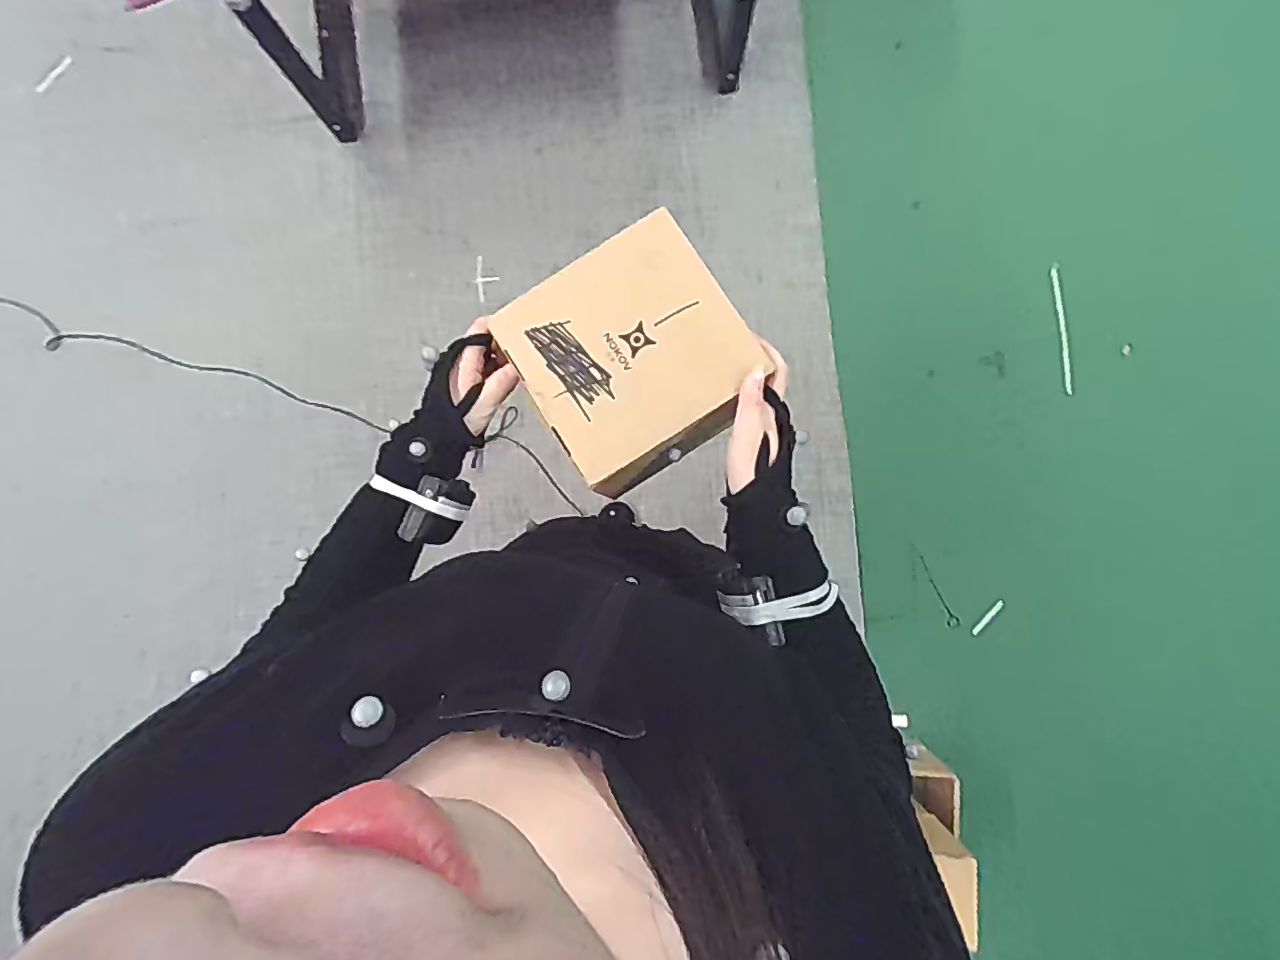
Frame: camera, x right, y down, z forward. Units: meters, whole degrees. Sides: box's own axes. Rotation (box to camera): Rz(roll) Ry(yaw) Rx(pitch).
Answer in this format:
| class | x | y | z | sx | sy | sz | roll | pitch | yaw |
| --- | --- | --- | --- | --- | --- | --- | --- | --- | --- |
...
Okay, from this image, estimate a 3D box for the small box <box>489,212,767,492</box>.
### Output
| class | x | y | z | sx | sy | sz | roll | pitch | yaw |
| --- | --- | --- | --- | --- | --- | --- | --- | --- | --- |
| small box | -0.006 | -0.101 | 0.515 | 0.179 | 0.176 | 0.168 | -32 | 84 | -1 |
